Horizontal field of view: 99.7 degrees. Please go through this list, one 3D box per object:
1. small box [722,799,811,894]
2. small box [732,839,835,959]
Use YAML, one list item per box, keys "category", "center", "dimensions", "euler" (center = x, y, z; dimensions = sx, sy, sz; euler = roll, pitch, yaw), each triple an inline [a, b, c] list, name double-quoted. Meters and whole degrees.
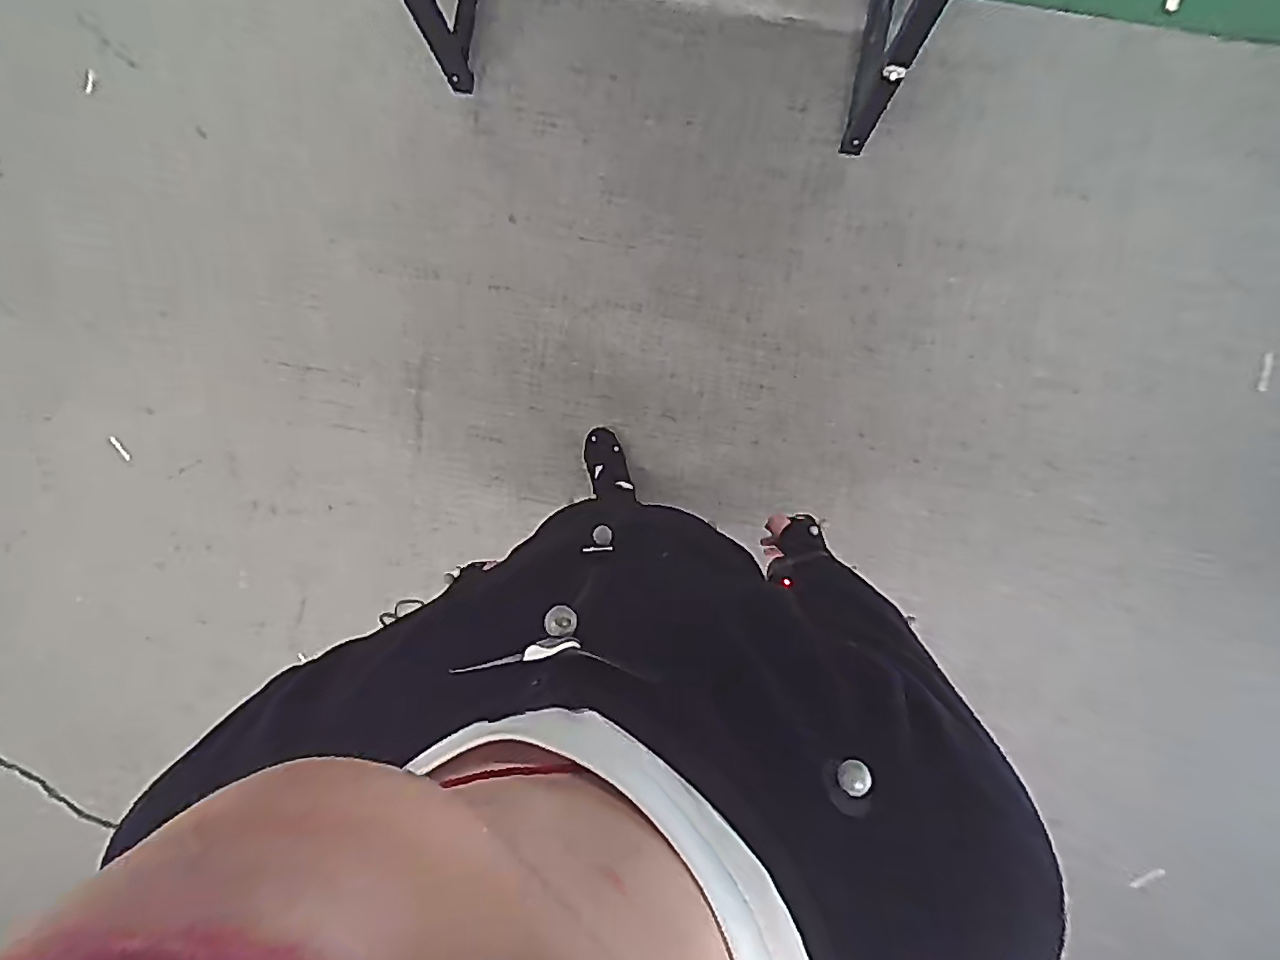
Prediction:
- category: "small box"
  center: [0.331, 0.997, 1.450]
  dimensions: [0.179, 0.176, 0.168]
  euler: [17, 92, 2]
- category: "small box"
  center: [0.331, 1.002, 1.285]
  dimensions: [0.179, 0.176, 0.168]
  euler: [19, 91, 3]
